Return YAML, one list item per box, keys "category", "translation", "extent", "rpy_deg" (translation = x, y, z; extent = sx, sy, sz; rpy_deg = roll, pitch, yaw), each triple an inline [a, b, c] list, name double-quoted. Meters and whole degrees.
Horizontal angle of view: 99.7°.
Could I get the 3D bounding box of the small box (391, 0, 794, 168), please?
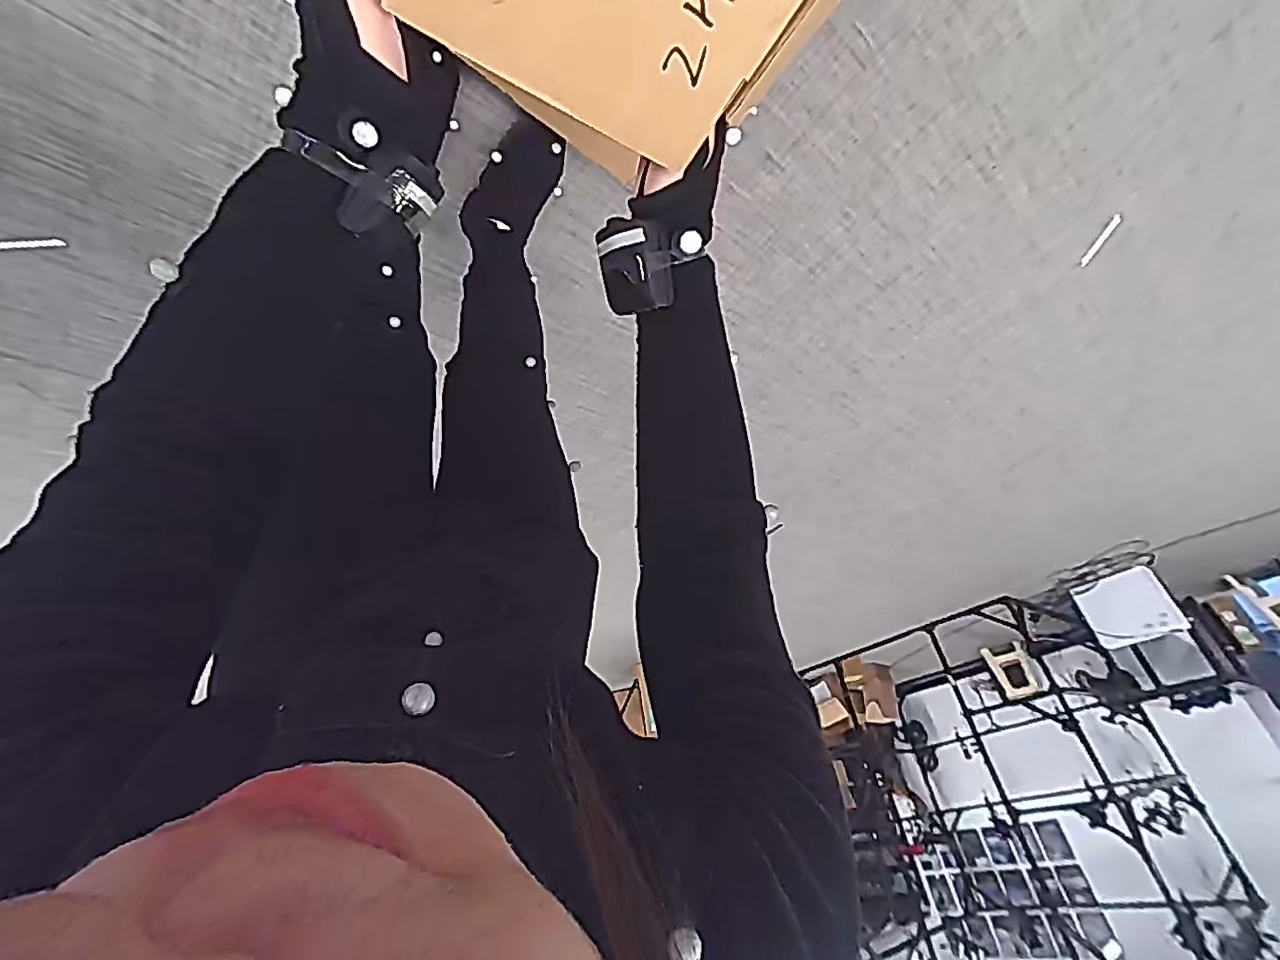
- category: "small box"
  translation: [-0.016, -0.312, 0.271]
  extent: [0.179, 0.176, 0.168]
  rpy_deg: [10, 147, -33]
